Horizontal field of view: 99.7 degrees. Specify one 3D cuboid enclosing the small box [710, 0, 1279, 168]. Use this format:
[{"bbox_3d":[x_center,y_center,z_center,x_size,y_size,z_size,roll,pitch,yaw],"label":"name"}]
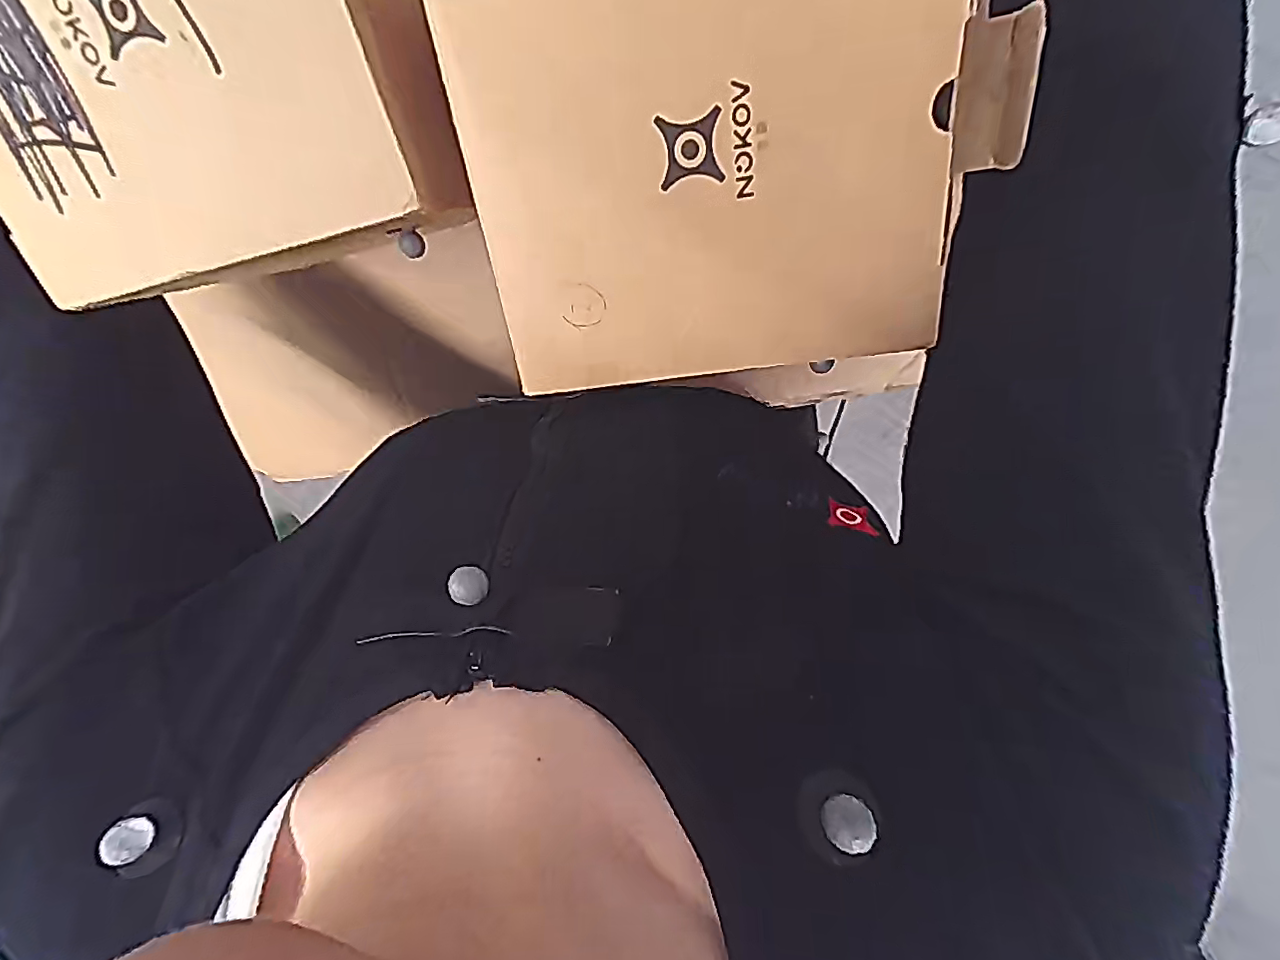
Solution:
[{"bbox_3d":[0.125,-0.225,0.200,0.179,0.176,0.168,7,125,0],"label":"small box"}]
